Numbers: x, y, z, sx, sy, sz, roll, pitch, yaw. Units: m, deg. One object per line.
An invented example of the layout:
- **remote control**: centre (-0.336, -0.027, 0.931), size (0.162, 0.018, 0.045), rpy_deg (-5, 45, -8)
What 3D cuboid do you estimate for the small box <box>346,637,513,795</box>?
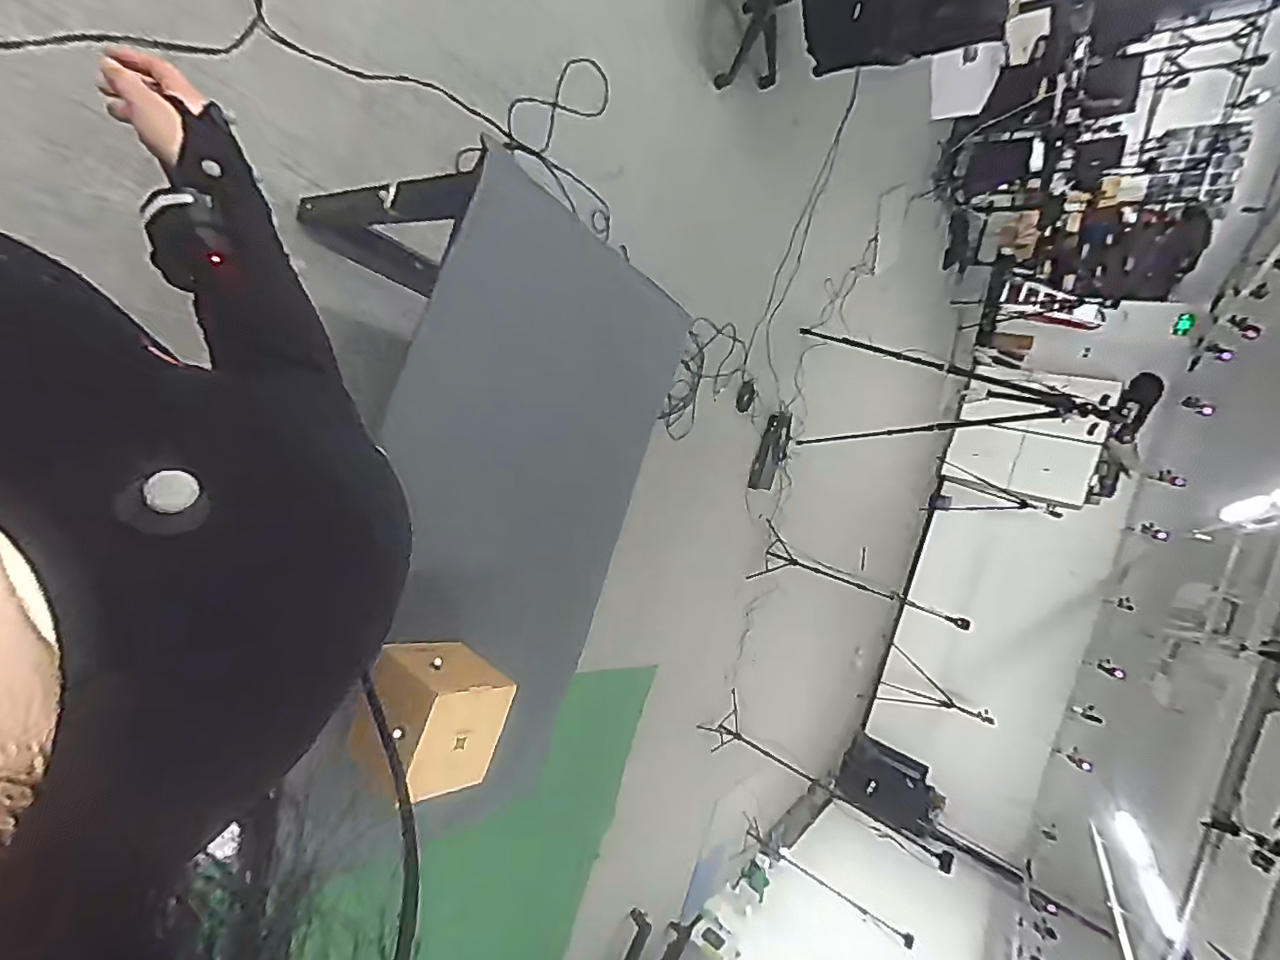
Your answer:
- **small box**: centre (-0.347, 0.369, 0.888), size (0.168, 0.176, 0.179), rpy_deg (23, 87, -55)
